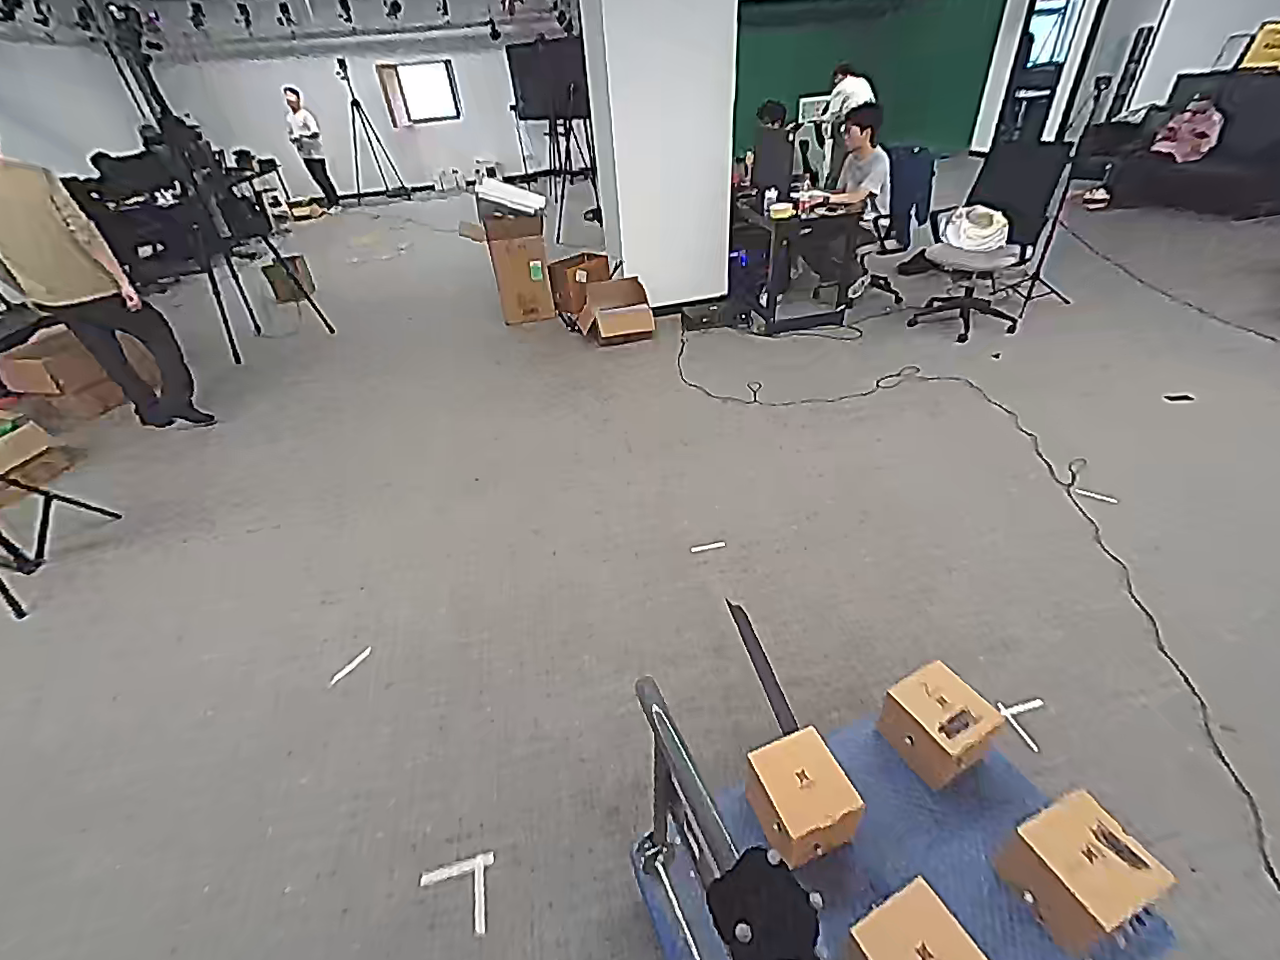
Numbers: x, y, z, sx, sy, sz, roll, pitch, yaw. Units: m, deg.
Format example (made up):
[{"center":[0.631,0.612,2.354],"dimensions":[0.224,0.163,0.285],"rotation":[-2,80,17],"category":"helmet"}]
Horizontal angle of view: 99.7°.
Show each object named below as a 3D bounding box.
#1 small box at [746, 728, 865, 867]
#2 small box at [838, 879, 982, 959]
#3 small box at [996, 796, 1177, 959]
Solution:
[{"center":[0.337,0.669,1.144],"dimensions":[0.168,0.176,0.179],"rotation":[-15,40,-14],"category":"small box"},{"center":[0.461,0.833,0.910],"dimensions":[0.168,0.176,0.179],"rotation":[-19,39,-17],"category":"small box"},{"center":[0.808,0.734,1.001],"dimensions":[0.179,0.176,0.168],"rotation":[-18,38,-14],"category":"small box"}]
